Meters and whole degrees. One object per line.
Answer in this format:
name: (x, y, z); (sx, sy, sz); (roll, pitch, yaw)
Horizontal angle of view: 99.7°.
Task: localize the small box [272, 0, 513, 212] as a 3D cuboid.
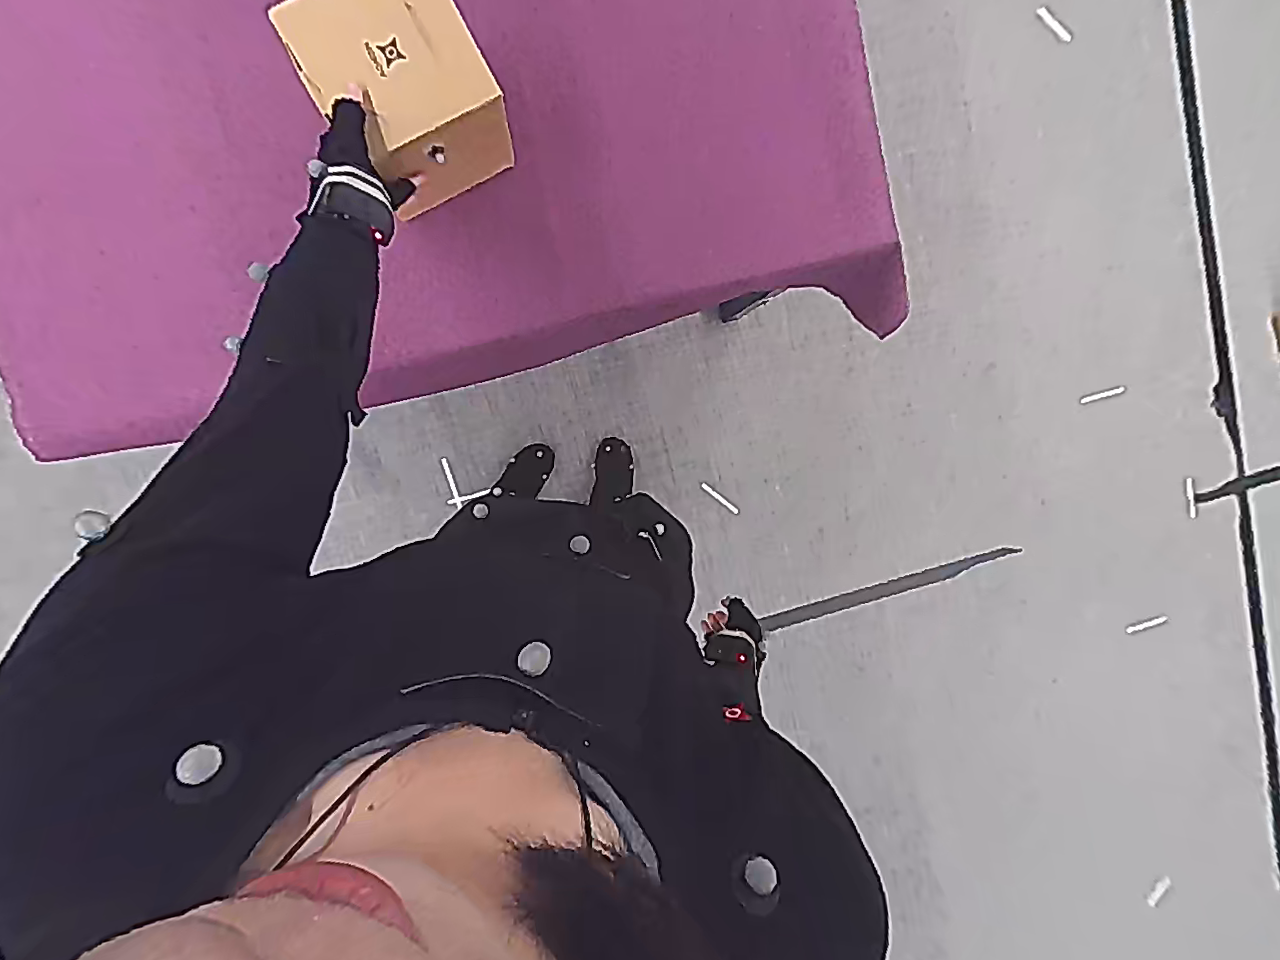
small box: (-0.269, -0.453, 0.639); (0.179, 0.176, 0.168); (-30, 100, -3)
